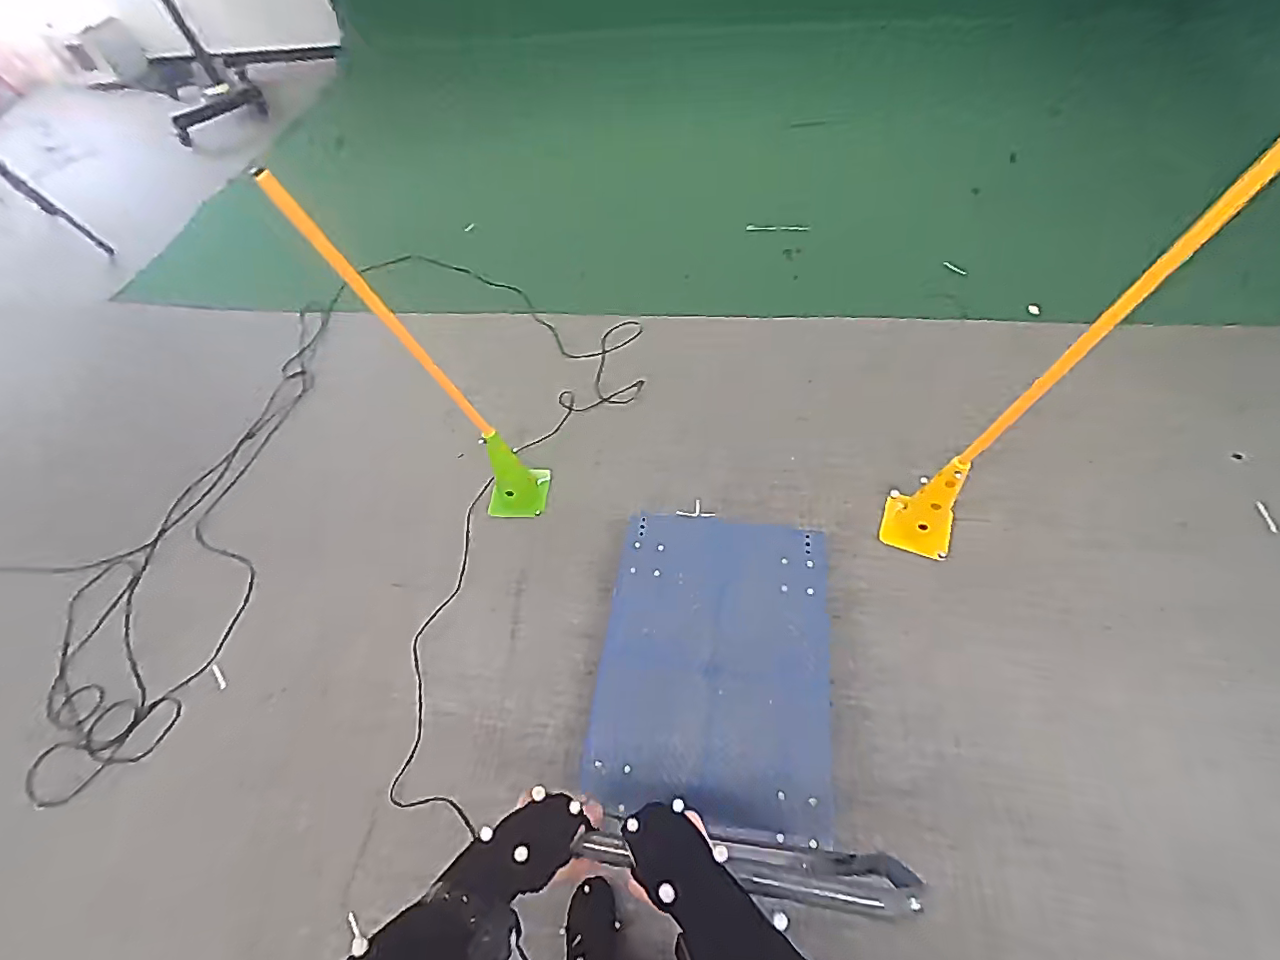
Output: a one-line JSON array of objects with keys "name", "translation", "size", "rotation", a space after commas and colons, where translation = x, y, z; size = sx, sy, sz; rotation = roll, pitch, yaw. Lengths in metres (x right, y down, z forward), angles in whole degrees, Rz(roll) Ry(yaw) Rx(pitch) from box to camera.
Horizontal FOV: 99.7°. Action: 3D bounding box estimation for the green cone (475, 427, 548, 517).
[{"name": "green cone", "translation": [-0.454, -0.050, 1.780], "size": [0.202, 0.368, 0.200], "rotation": [-1, 56, 7]}]
